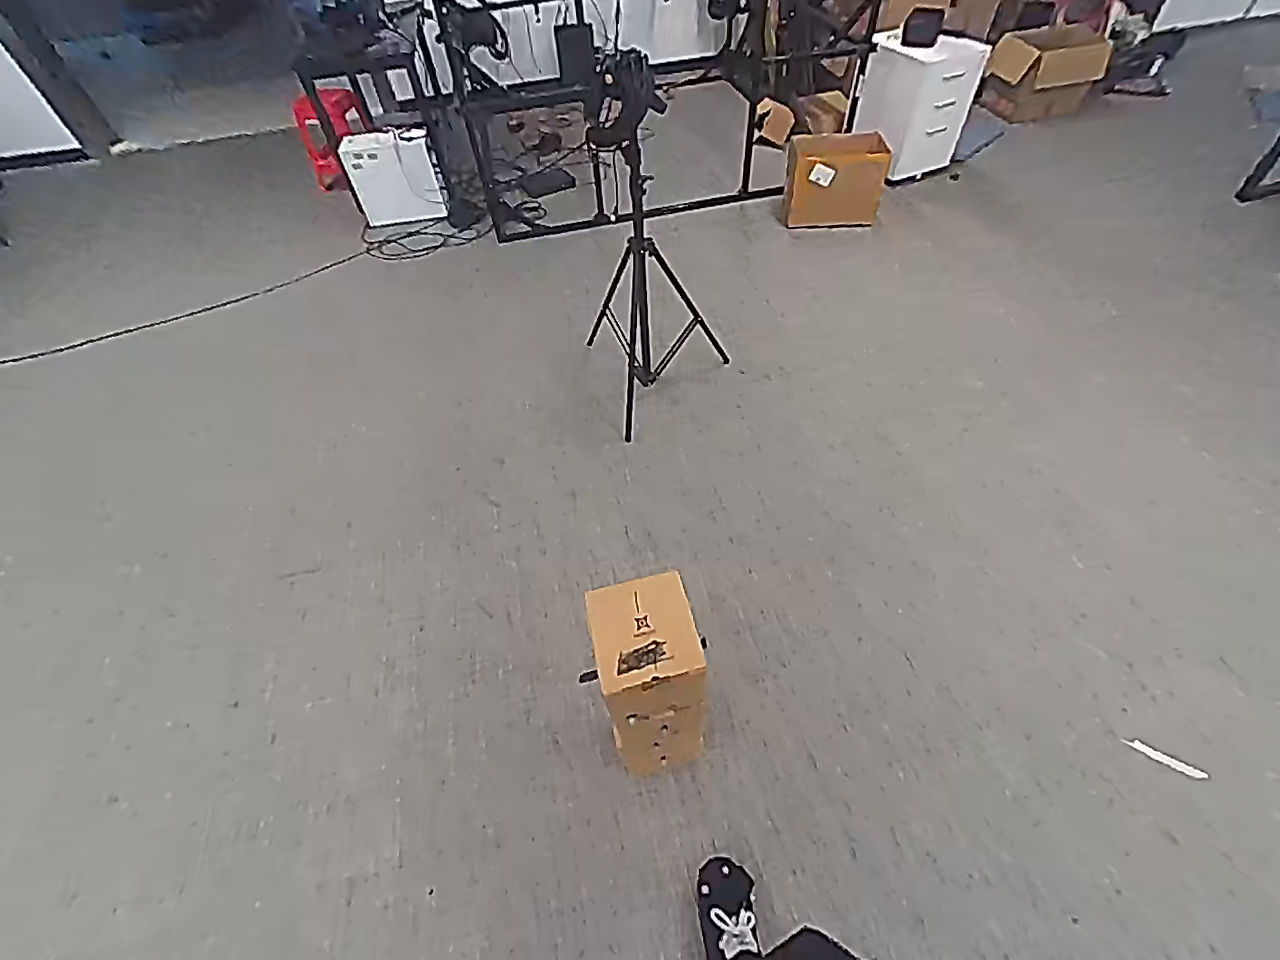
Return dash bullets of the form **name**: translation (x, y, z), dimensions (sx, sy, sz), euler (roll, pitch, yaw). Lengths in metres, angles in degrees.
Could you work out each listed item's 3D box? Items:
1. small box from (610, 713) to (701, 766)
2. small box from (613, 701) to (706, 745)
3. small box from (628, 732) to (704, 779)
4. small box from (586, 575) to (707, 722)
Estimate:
- **small box**: translation (0.029, 0.501, 1.169), dimensions (0.179, 0.176, 0.168), euler (-11, 53, -4)
- **small box**: translation (0.026, 0.395, 1.044), dimensions (0.168, 0.176, 0.179), euler (-12, 53, -4)
- **small box**: translation (0.045, 0.599, 1.300), dimensions (0.179, 0.176, 0.168), euler (-13, 52, -6)
- **small box**: translation (0.012, 0.292, 0.916), dimensions (0.168, 0.176, 0.179), euler (-12, 51, -5)
